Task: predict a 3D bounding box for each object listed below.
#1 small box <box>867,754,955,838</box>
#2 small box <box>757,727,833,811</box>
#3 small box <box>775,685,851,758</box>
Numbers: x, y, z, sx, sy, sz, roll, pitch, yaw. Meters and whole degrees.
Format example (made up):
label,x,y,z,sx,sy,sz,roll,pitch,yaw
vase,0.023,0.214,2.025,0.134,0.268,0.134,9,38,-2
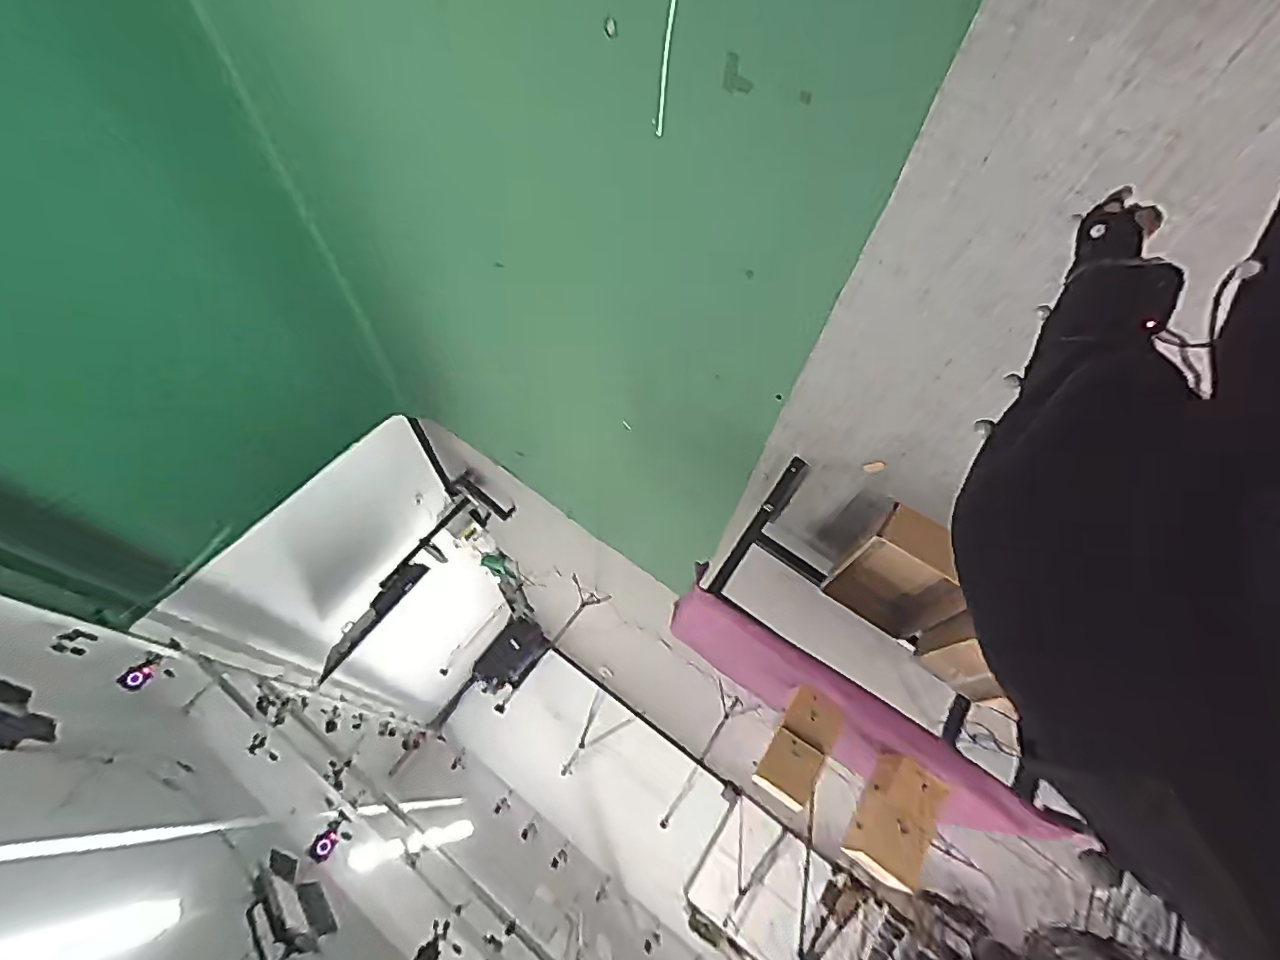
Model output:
label,x,y,z,sx,sy,sz,roll,pitch,yaw
small box,0.874,1.009,1.741,0.168,0.176,0.179,35,154,12
small box,0.496,0.925,1.732,0.168,0.176,0.179,28,153,22
small box,0.586,0.818,1.824,0.168,0.176,0.179,32,154,17
